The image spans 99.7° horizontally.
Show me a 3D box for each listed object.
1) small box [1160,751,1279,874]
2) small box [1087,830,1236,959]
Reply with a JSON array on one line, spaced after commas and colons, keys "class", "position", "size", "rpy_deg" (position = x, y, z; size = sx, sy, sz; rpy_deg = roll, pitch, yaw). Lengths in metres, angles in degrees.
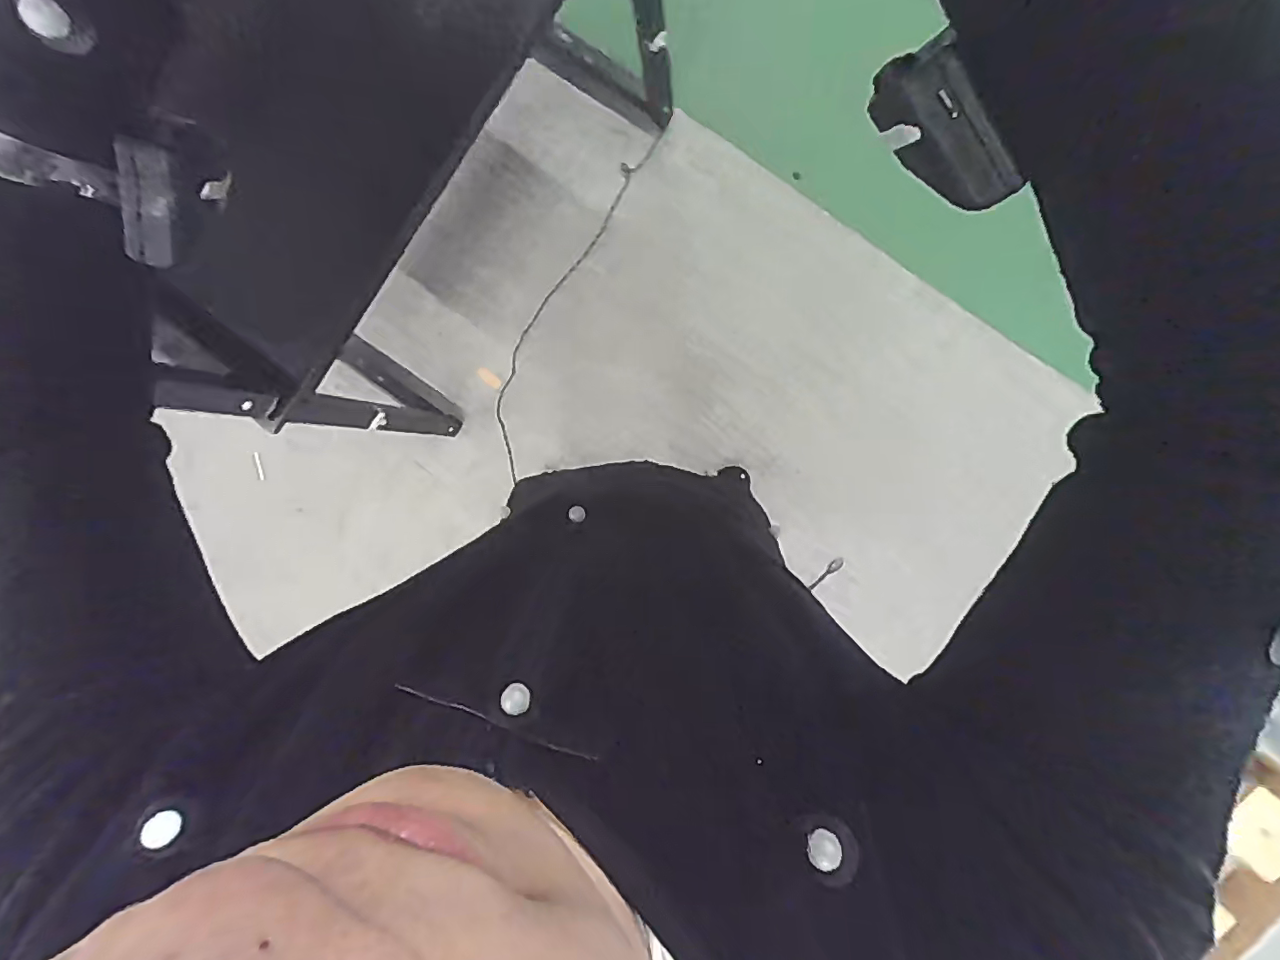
[{"class": "small box", "position": [1.492, 0.821, 1.361], "size": [0.179, 0.176, 0.168], "rpy_deg": [38, 96, 3]}, {"class": "small box", "position": [1.319, 1.047, 1.385], "size": [0.179, 0.176, 0.168], "rpy_deg": [40, 95, 4]}]
